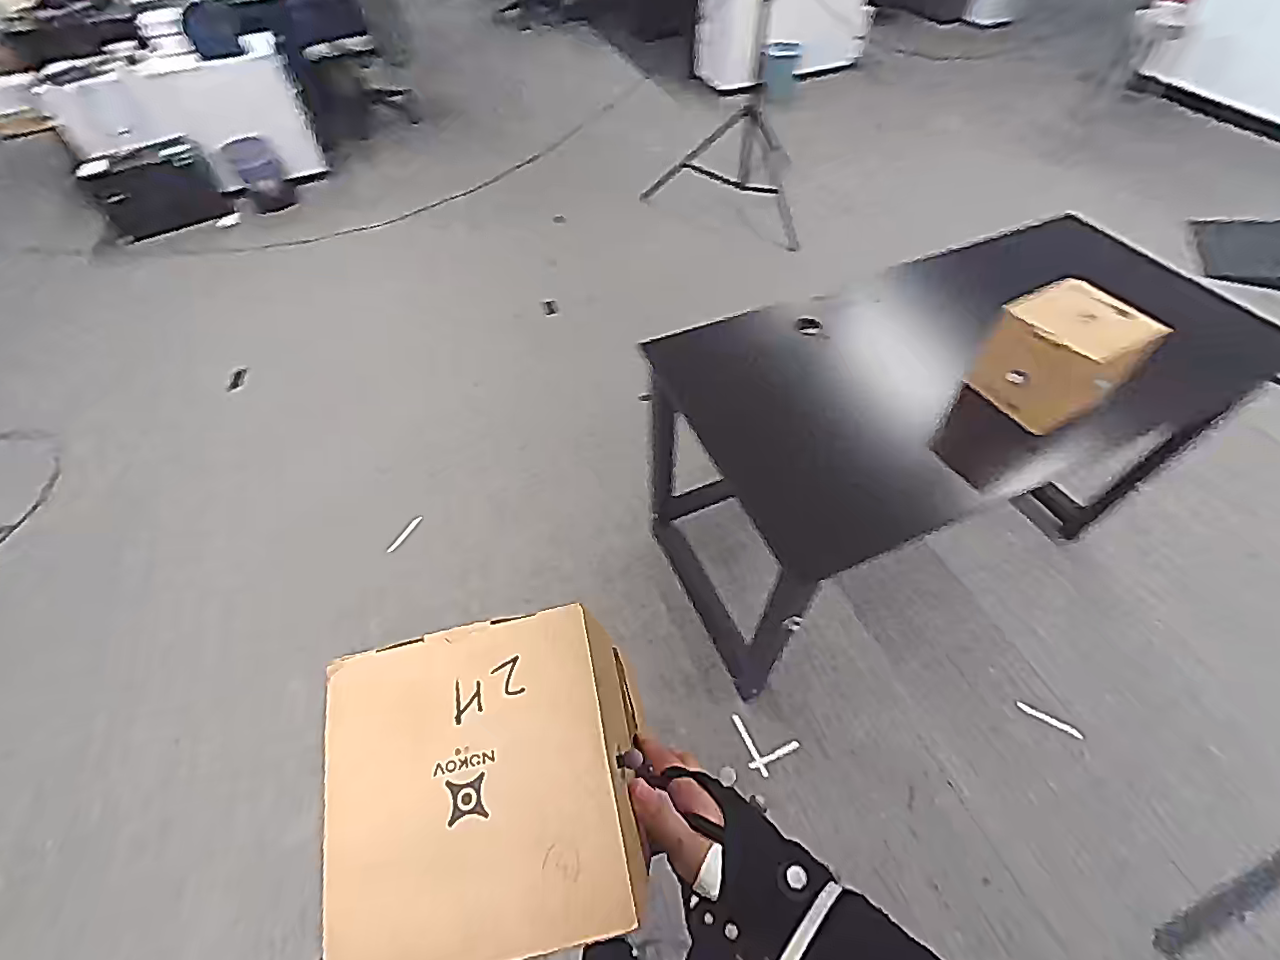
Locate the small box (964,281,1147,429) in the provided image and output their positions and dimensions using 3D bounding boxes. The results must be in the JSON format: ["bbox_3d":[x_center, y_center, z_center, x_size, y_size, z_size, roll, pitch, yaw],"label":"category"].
[{"bbox_3d":[0.722,-0.219,0.969,0.179,0.176,0.168,-25,56,-15],"label":"small box"}]

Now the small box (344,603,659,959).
[{"bbox_3d":[-0.083,0.204,0.387,0.168,0.176,0.179,-12,65,-2],"label":"small box"}]

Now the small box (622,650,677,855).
[{"bbox_3d":[-0.068,0.278,0.534,0.179,0.176,0.168,-15,66,-2],"label":"small box"}]
